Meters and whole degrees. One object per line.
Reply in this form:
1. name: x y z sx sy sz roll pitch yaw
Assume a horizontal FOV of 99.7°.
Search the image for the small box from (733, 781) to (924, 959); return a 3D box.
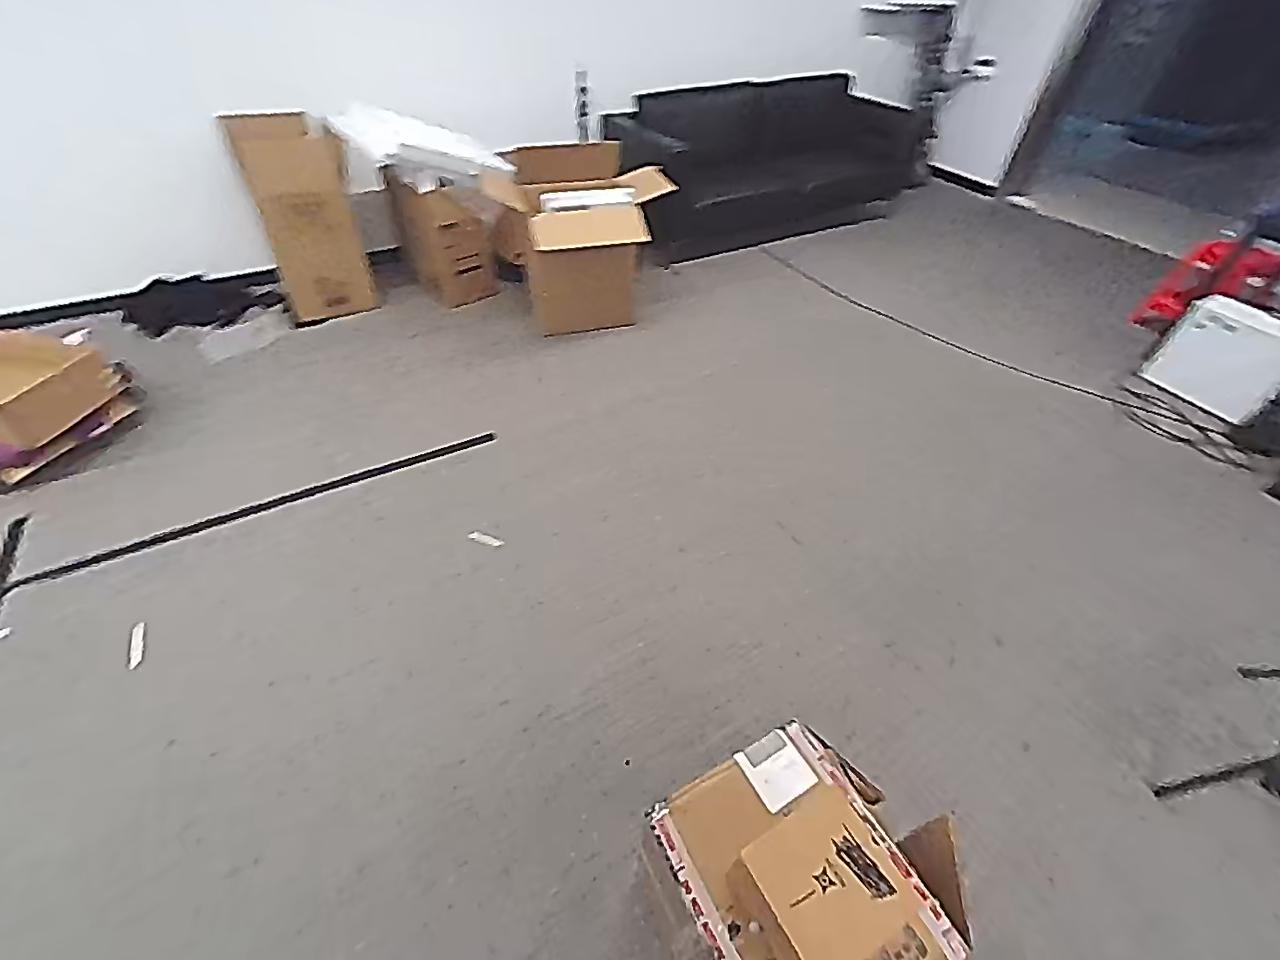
1. small box: 0.252 0.572 0.768 0.179 0.176 0.168 -23 50 -19
